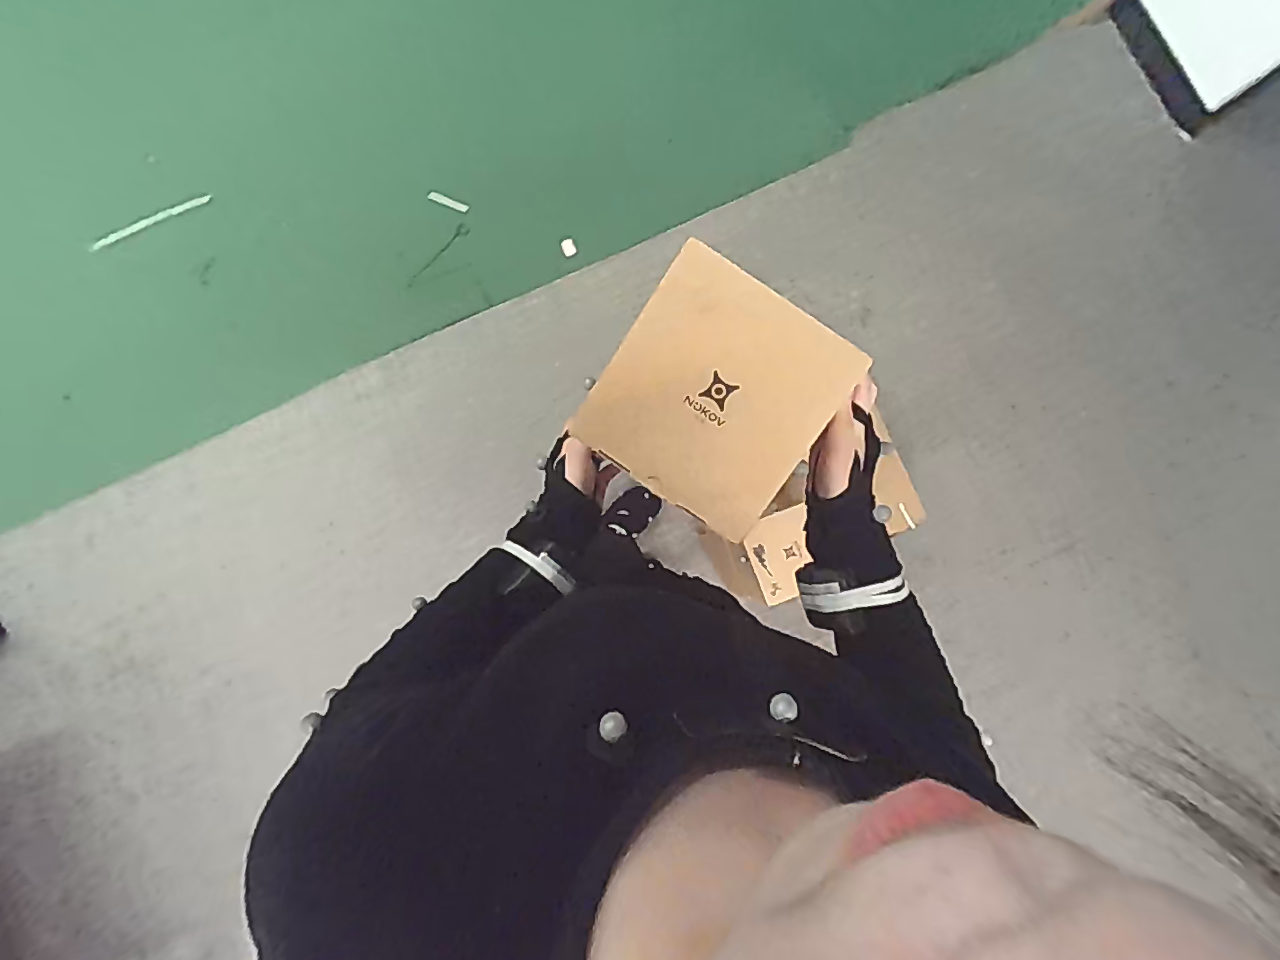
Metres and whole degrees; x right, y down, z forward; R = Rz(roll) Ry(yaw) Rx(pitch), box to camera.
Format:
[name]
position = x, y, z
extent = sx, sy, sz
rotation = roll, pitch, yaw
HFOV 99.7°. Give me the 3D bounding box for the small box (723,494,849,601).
[small box]
position = 0.292, 0.134, 1.119
extent = 0.179, 0.176, 0.168
rotation = -20, 86, -4
